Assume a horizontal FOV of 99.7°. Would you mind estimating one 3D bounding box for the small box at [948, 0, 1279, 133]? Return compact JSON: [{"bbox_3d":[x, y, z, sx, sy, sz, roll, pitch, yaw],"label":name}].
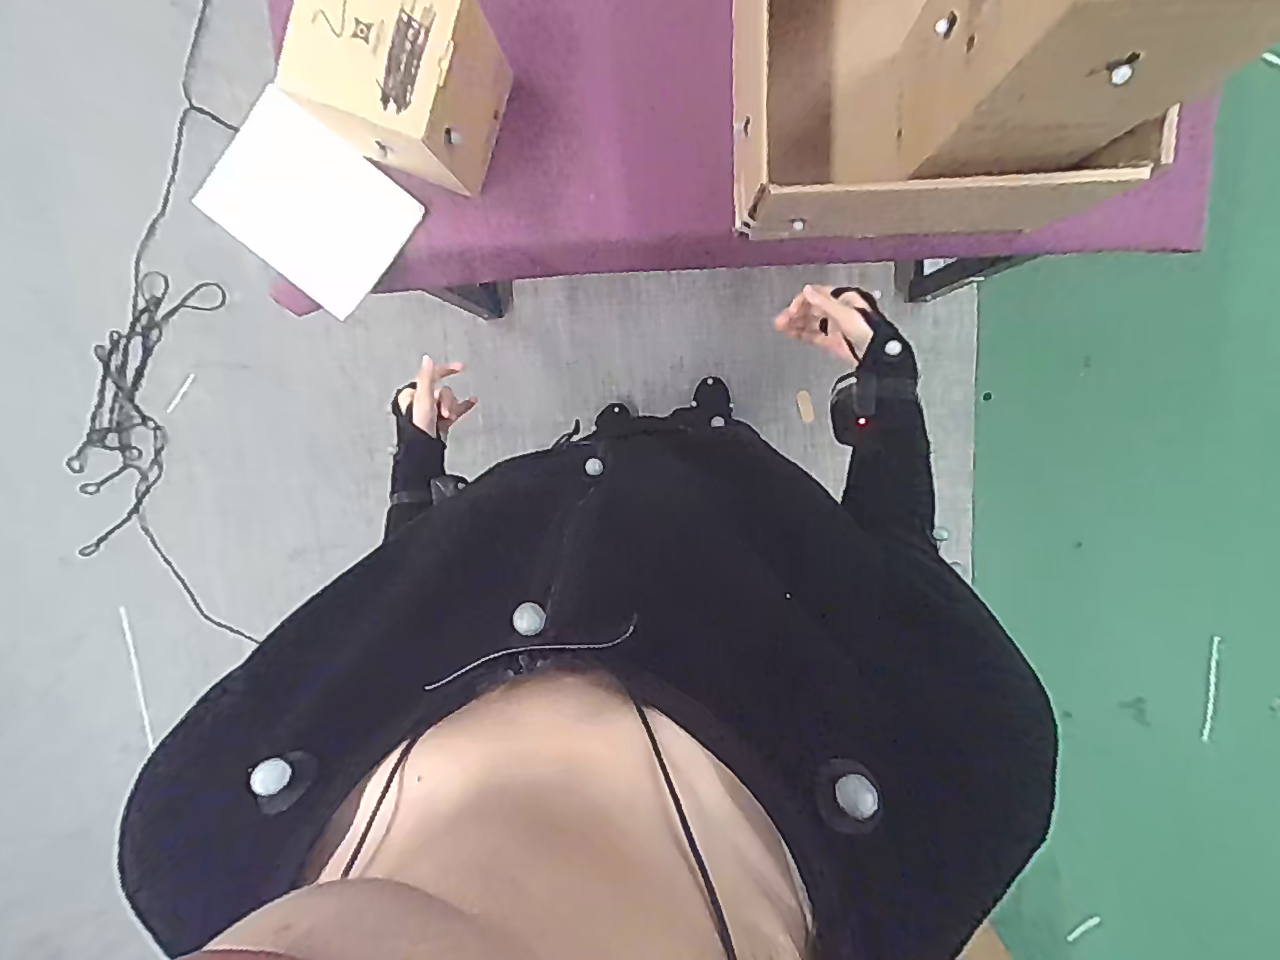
[{"bbox_3d":[0.370,-0.394,0.412,0.179,0.176,0.168,1,97,5],"label":"small box"}]
